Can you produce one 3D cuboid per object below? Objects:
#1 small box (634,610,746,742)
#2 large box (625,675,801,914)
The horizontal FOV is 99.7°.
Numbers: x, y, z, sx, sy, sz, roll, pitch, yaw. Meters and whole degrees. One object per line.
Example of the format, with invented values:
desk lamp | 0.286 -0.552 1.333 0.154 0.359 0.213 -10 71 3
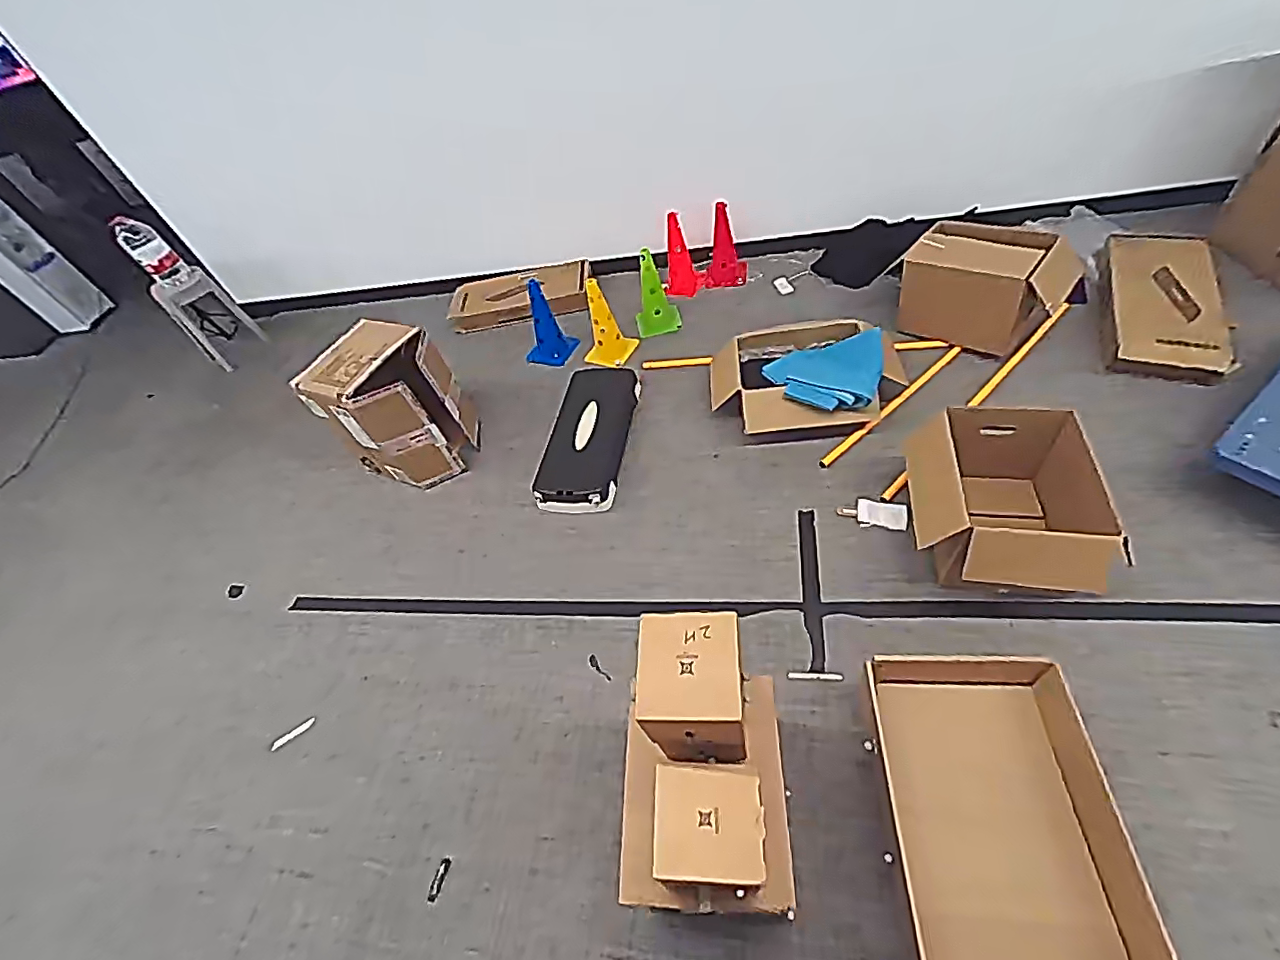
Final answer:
small box | 0.092 0.338 0.925 0.168 0.176 0.179 -4 52 10
large box | 0.154 0.676 1.172 0.320 0.320 0.408 -5 52 10
